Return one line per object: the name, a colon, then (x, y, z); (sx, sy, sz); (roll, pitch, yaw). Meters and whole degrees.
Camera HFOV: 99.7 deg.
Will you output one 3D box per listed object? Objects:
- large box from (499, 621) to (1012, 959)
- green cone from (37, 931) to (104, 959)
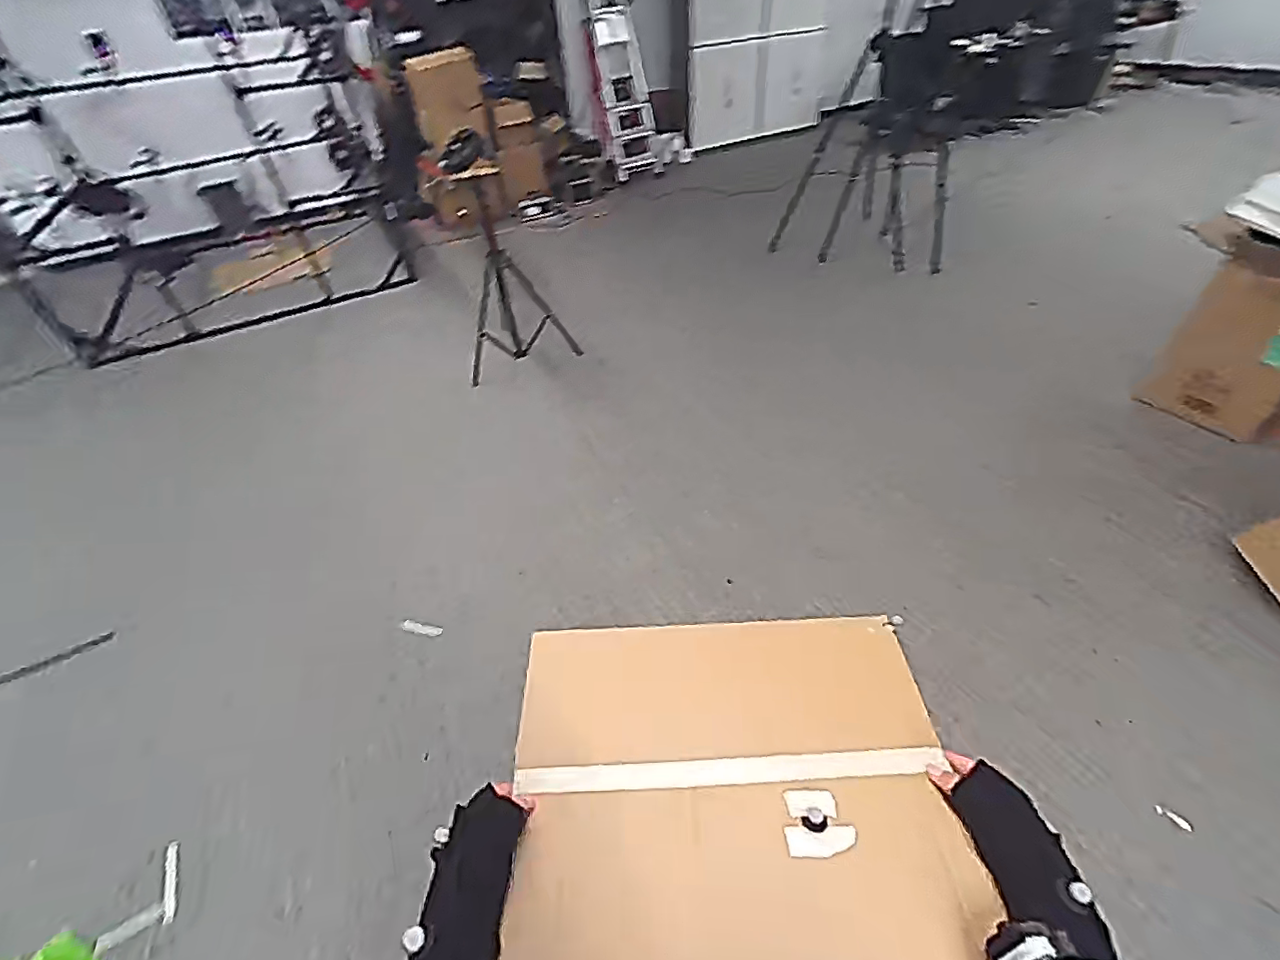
large box: (0.081, 0.388, 0.613); (0.408, 0.320, 0.320); (-3, 44, -1)
green cone: (-1.288, 0.988, 1.037); (0.202, 0.368, 0.200); (12, 45, 21)
